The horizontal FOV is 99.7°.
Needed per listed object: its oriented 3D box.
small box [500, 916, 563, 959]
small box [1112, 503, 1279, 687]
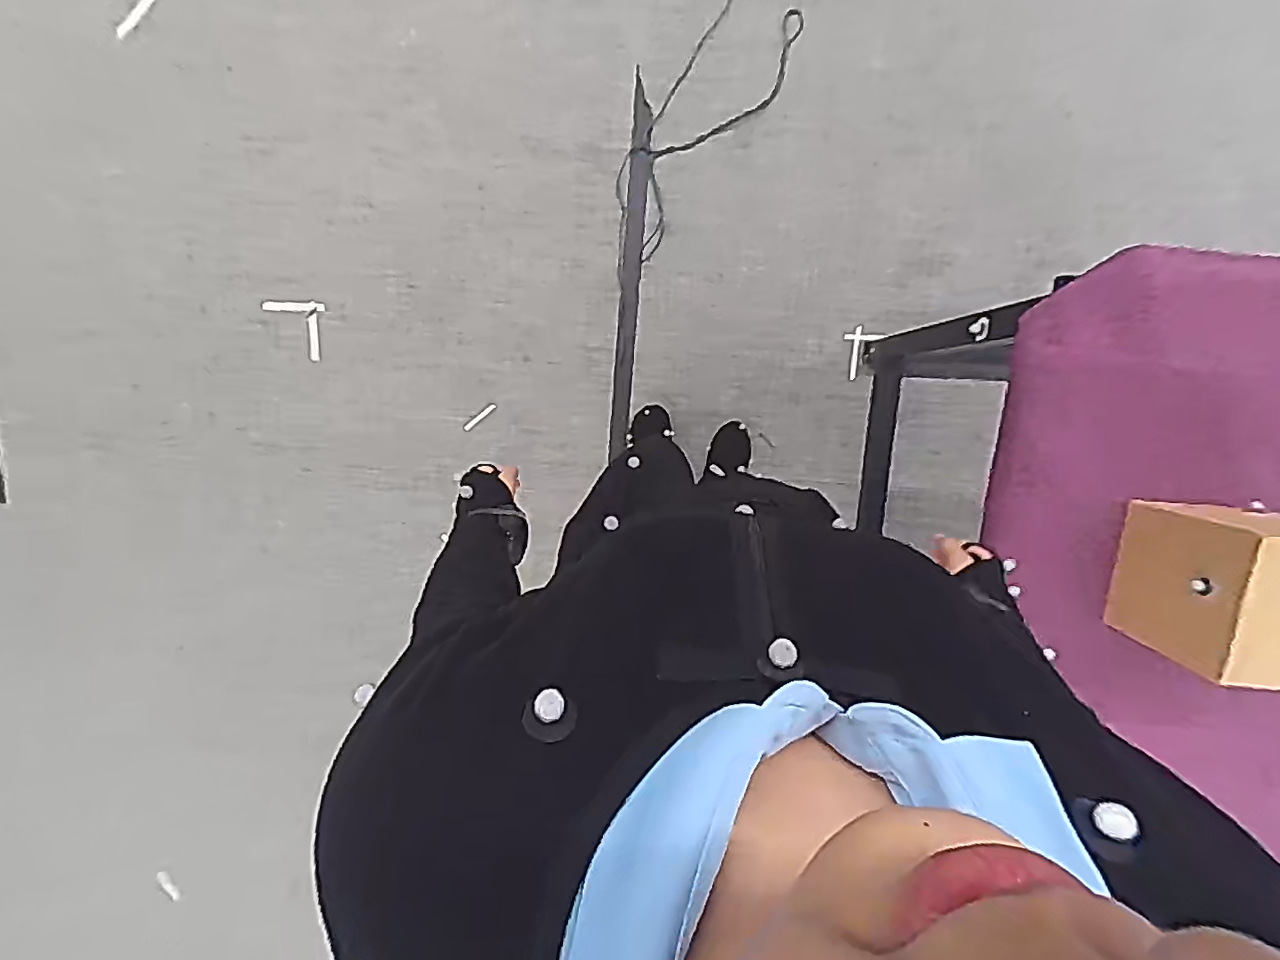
[{"bbox_3d":[-0.329,1.466,1.630,0.168,0.176,0.179,1,101,3],"label":"small box"},{"bbox_3d":[0.729,0.130,0.655,0.168,0.176,0.179,4,100,3],"label":"small box"}]
